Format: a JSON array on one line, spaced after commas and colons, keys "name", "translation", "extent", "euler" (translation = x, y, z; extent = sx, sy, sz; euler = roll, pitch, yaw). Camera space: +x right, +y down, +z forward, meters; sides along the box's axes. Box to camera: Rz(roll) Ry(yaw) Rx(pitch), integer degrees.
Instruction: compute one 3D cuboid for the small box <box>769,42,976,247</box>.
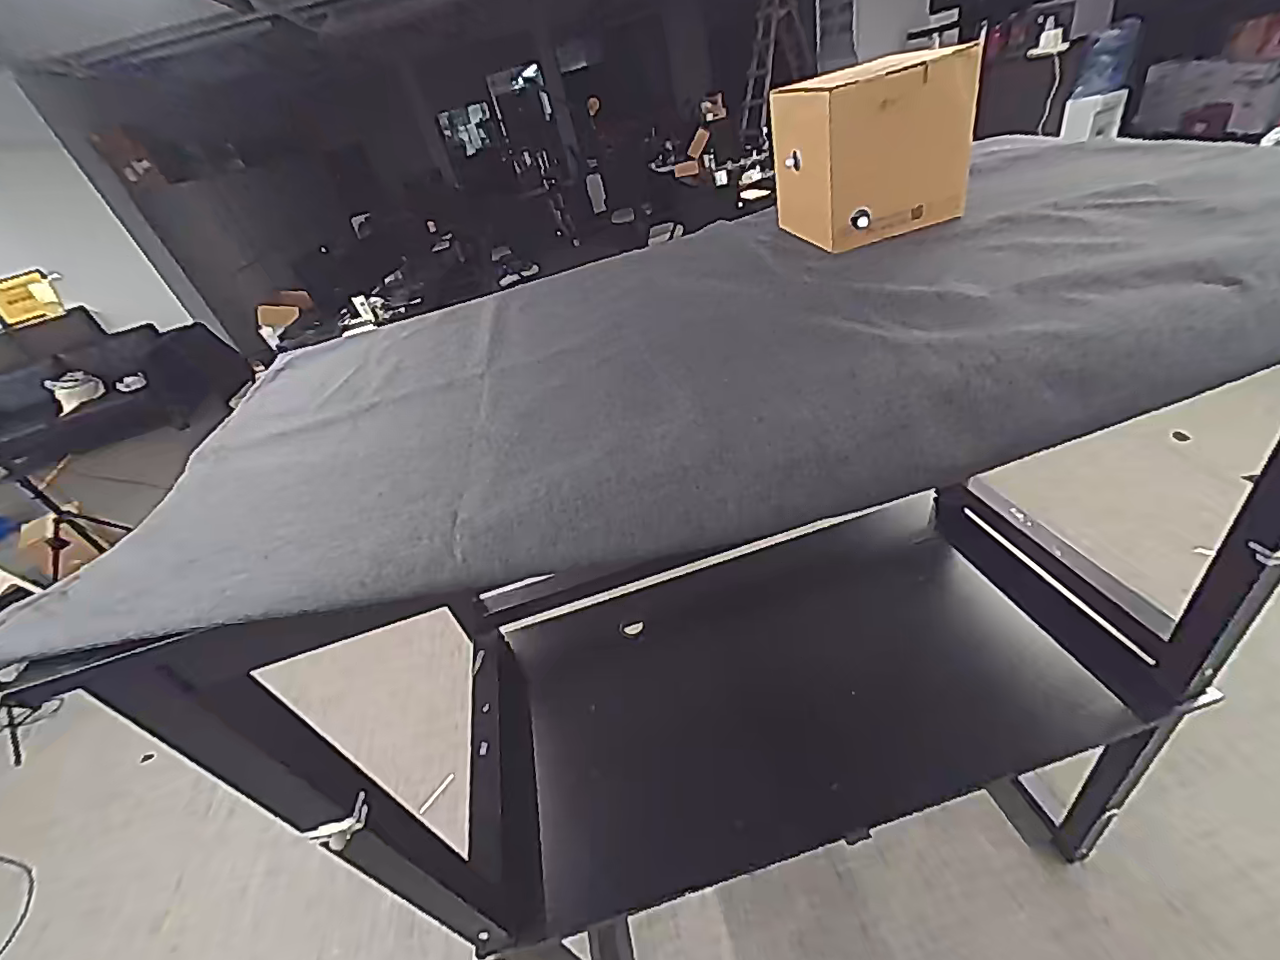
[{"name": "small box", "translation": [0.274, -0.403, 0.665], "extent": [0.168, 0.176, 0.179], "euler": [-17, 35, 0]}]
